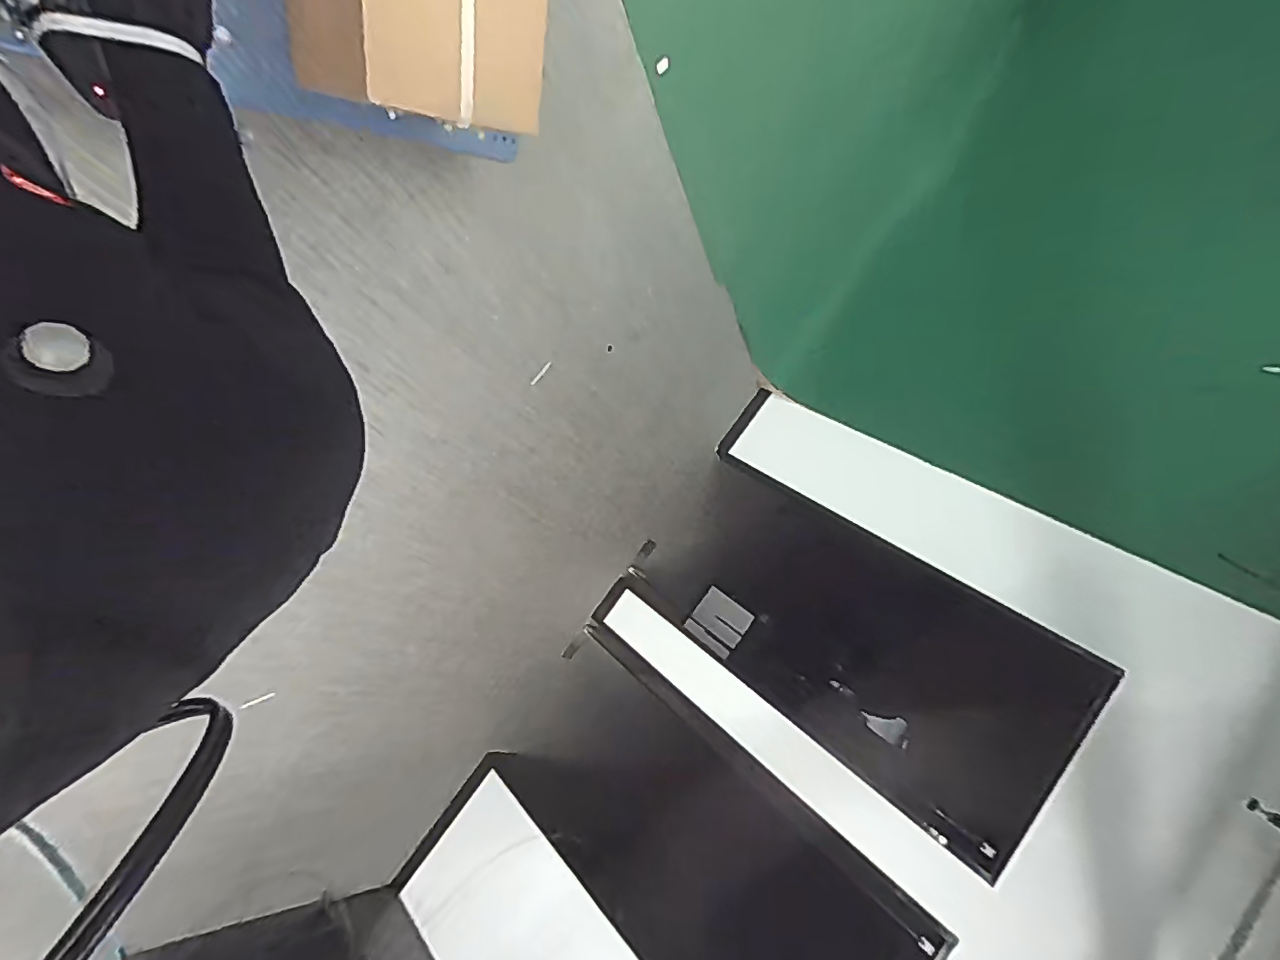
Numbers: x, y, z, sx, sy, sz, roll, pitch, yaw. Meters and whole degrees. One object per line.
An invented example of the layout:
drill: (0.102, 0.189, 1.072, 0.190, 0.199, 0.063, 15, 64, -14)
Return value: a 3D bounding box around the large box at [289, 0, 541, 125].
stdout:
large box: (-0.375, -0.854, 0.891, 0.320, 0.320, 0.408, -21, 133, -43)
